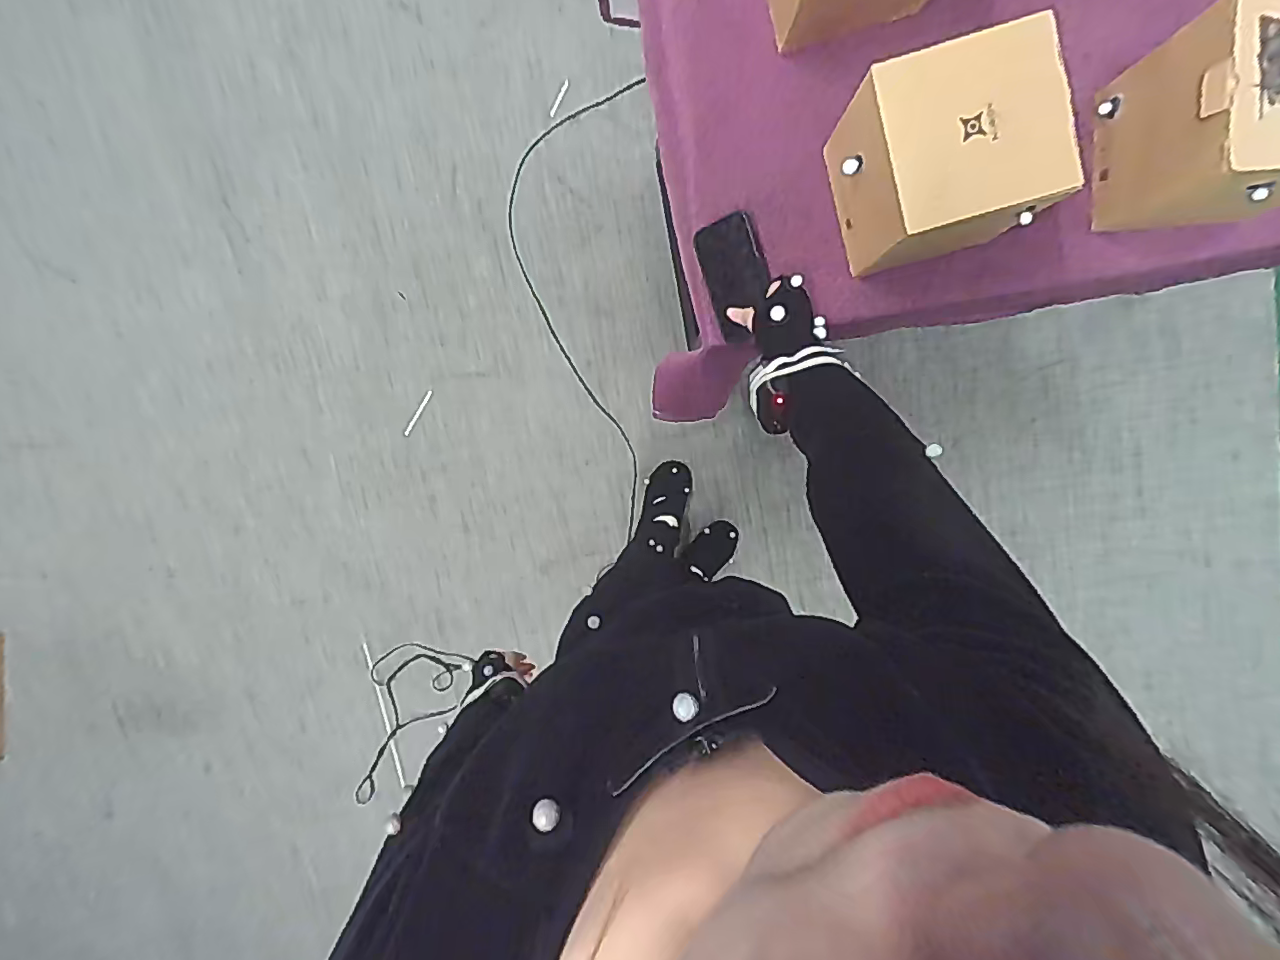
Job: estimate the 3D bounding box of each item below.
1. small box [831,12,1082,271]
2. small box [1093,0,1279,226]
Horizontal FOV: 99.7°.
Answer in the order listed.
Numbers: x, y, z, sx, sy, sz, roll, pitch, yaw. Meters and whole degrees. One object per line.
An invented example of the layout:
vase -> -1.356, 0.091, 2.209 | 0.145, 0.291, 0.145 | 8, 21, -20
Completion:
small box -> 0.330, -0.354, 0.605 | 0.179, 0.176, 0.168 | -15, 96, 3
small box -> 0.641, -0.390, 0.586 | 0.179, 0.176, 0.168 | -4, 97, 2
